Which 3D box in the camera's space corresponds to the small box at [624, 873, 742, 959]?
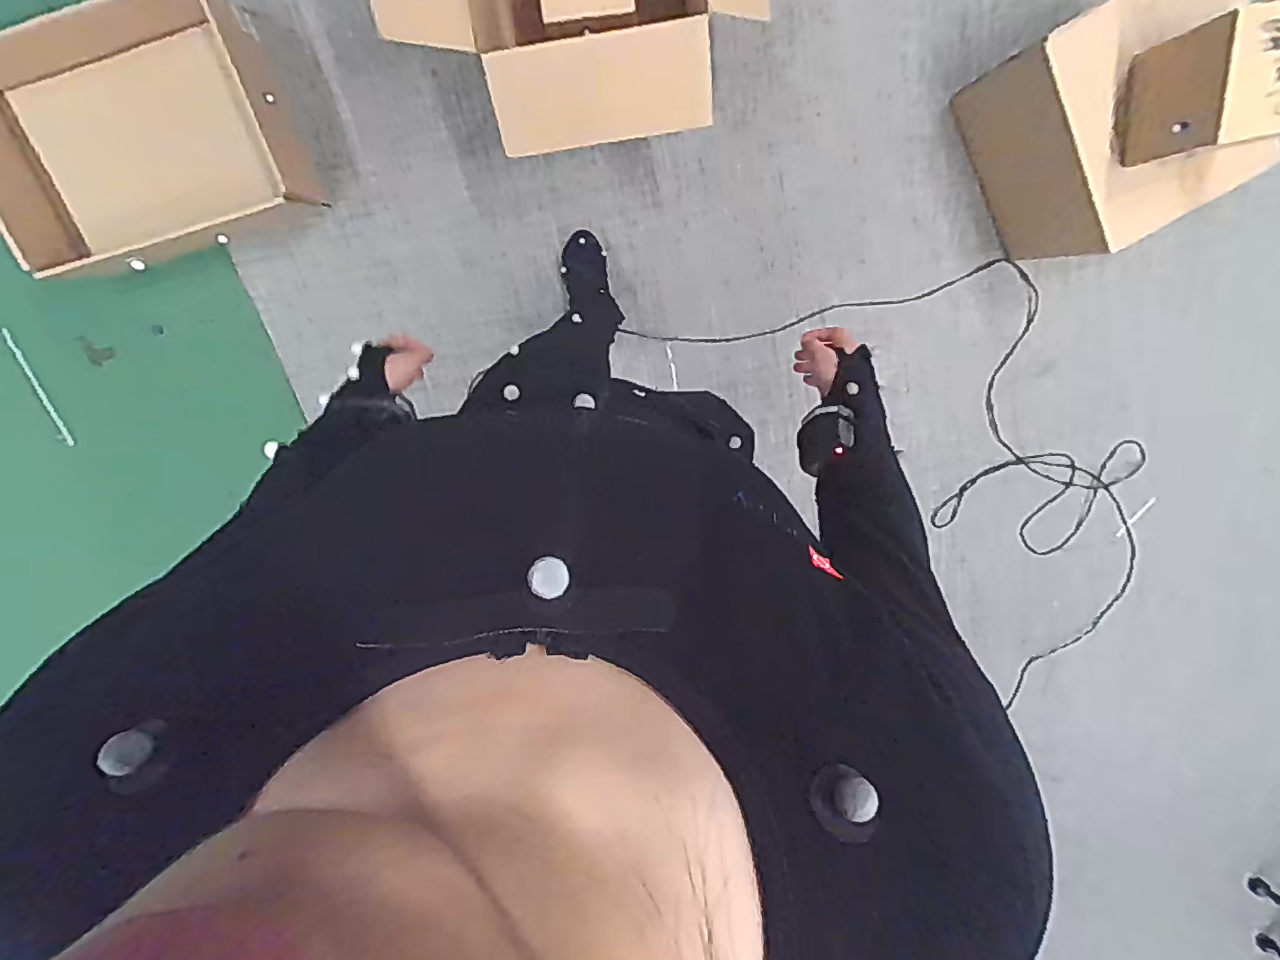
[{"bbox_3d":[0.078,0.854,0.970,0.179,0.176,0.168,-28,107,10],"label":"small box"}]
